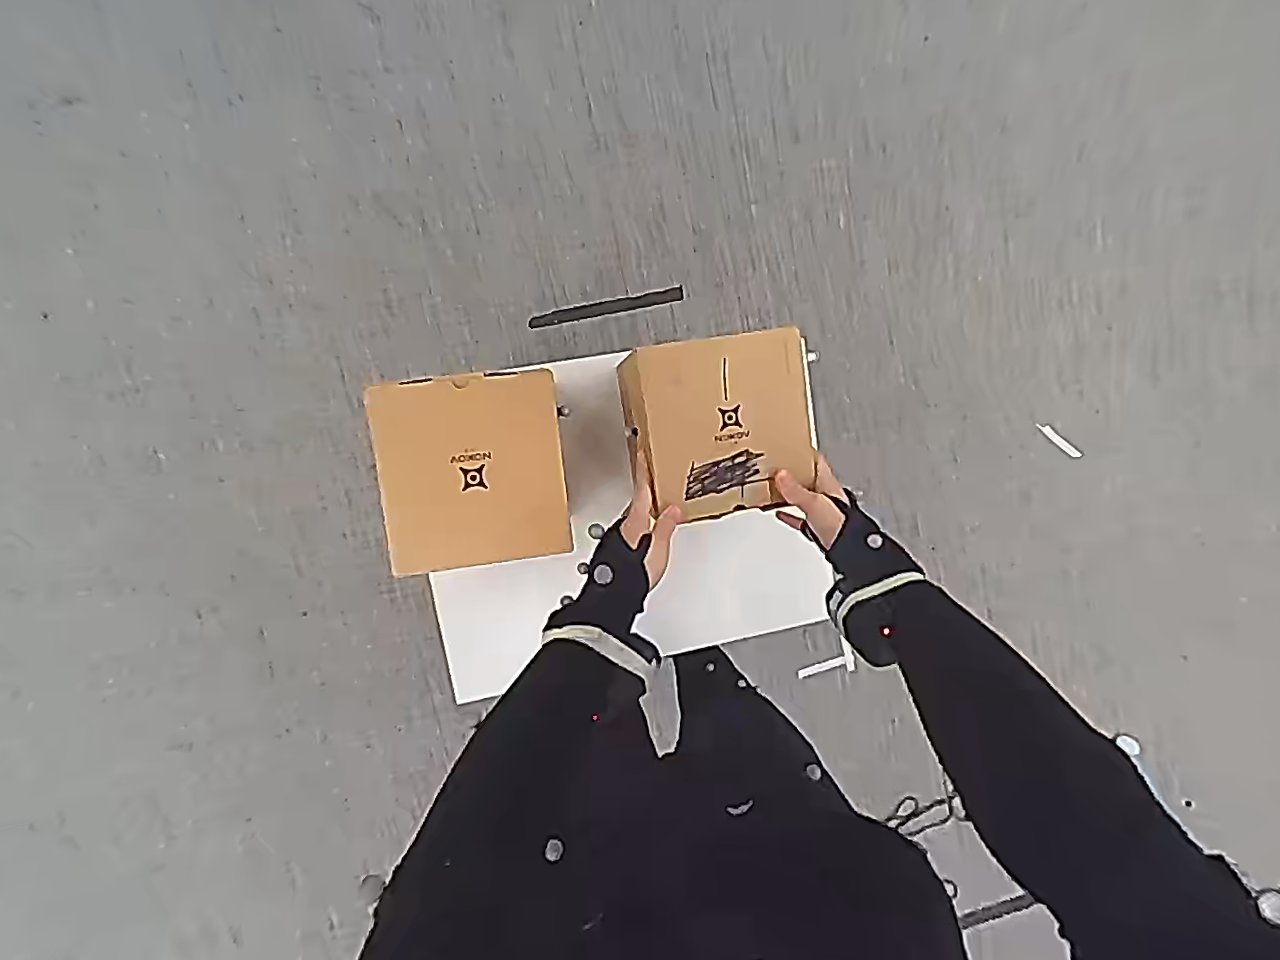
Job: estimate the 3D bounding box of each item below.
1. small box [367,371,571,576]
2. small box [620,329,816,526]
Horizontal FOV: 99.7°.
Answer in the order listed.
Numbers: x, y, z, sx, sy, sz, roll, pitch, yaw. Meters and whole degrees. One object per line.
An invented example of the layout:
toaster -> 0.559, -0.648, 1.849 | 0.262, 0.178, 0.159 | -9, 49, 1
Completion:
small box -> -0.164, -0.014, 0.573 | 0.168, 0.176, 0.179 | -7, 96, -9
small box -> 0.076, -0.060, 0.605 | 0.168, 0.176, 0.179 | -10, 97, -8
